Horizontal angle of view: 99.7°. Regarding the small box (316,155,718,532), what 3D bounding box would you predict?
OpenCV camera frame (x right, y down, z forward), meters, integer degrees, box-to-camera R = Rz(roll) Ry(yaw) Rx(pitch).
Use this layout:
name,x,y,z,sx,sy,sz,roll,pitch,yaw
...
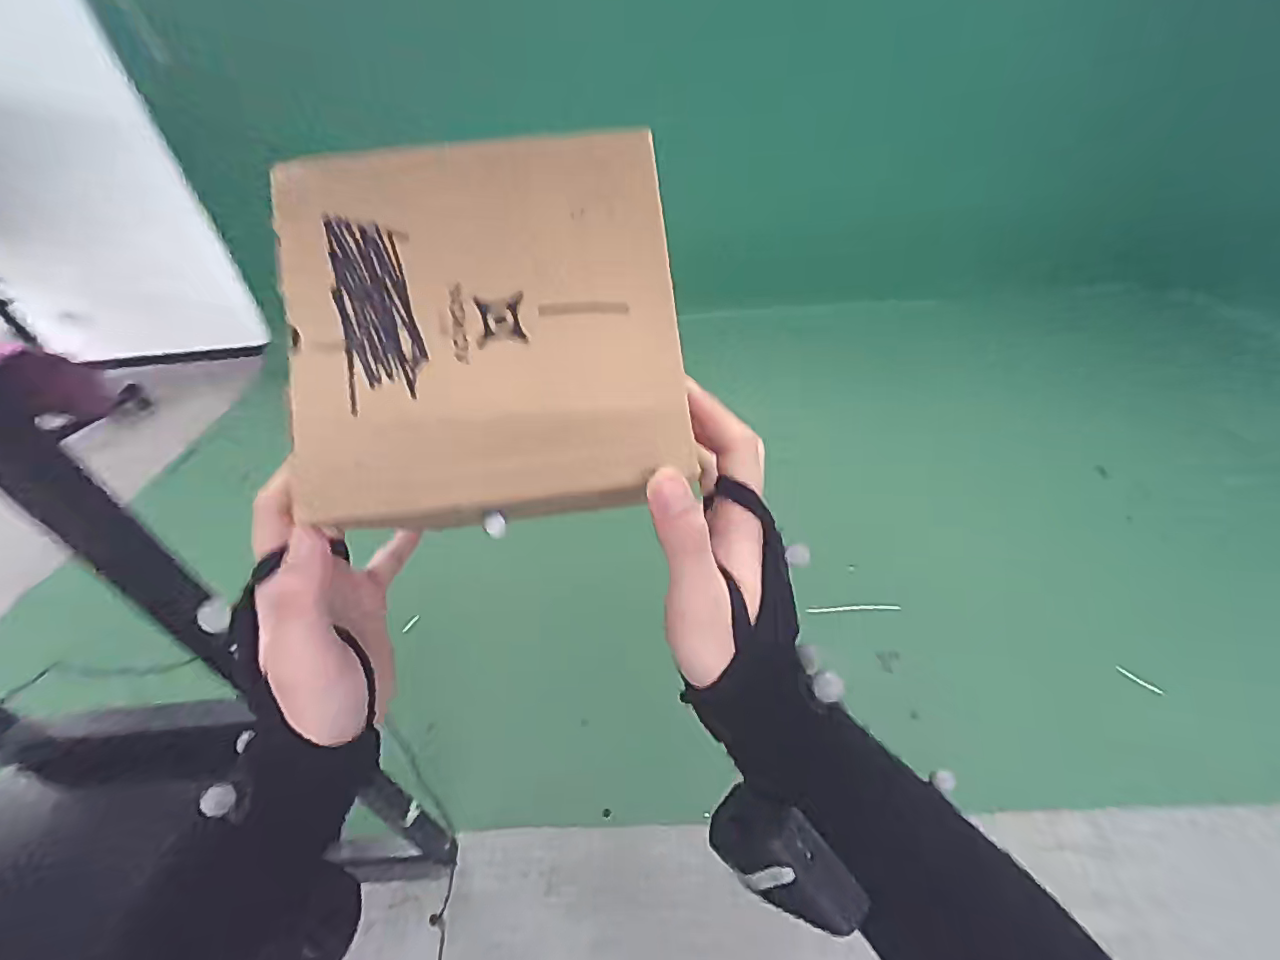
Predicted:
name,x,y,z,sx,sy,sz,roll,pitch,yaw
small box,-0.060,-0.058,0.327,0.179,0.176,0.168,-6,85,-3
